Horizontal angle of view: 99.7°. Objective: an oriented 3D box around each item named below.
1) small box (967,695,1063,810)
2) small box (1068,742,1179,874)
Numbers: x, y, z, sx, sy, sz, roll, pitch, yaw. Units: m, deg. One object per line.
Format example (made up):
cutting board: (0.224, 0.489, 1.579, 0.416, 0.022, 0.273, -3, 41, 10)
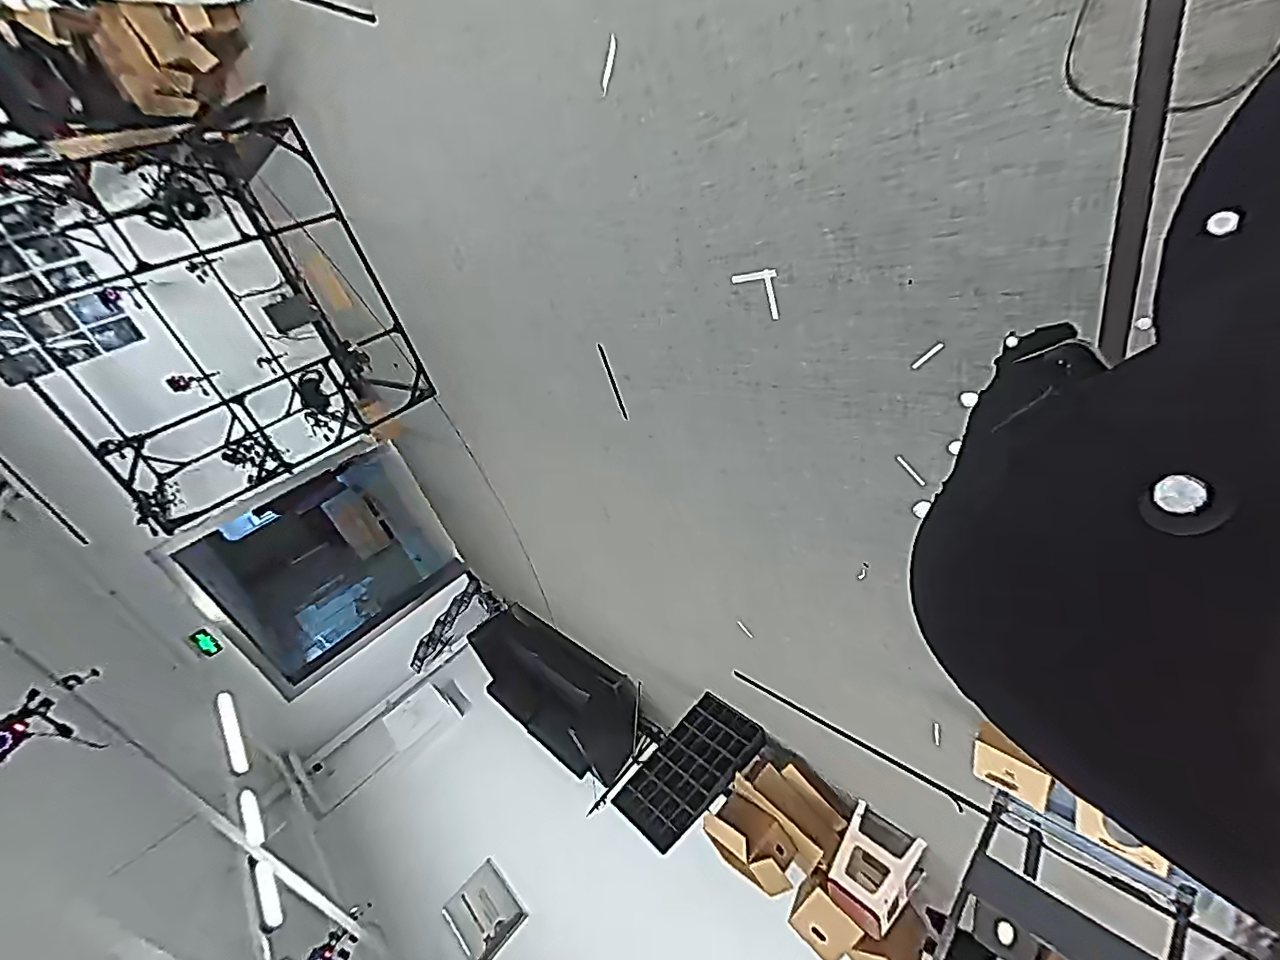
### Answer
small box: (0.998, 0.719, 1.441, 0.168, 0.176, 0.179, 19, 136, 45)
small box: (1.147, 0.767, 1.285, 0.168, 0.176, 0.179, 14, 132, 49)
